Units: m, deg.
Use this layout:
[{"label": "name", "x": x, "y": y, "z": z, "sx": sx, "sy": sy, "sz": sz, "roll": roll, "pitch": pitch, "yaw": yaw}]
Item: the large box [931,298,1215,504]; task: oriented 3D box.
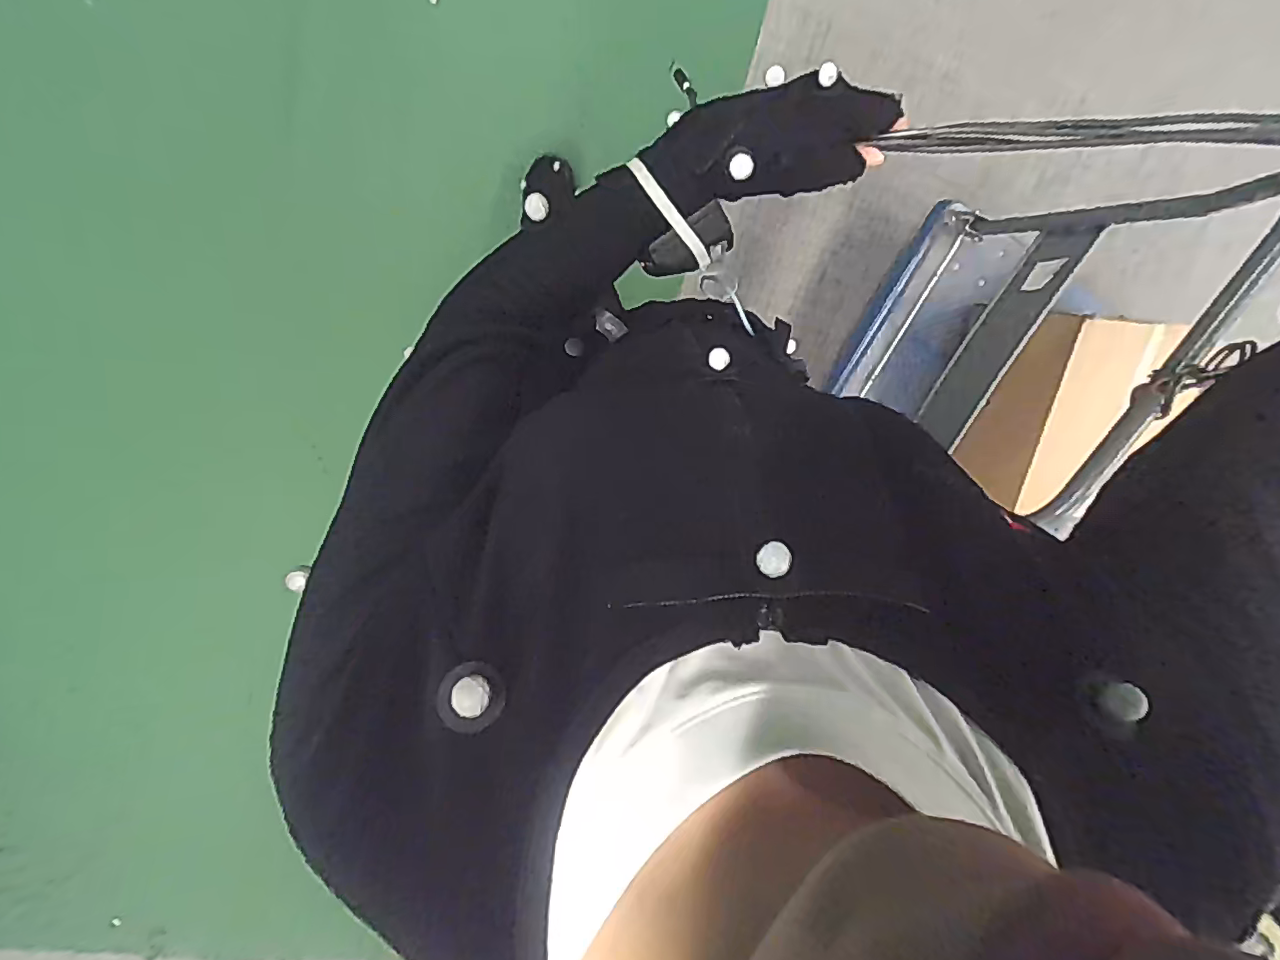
[{"label": "large box", "x": 0.936, "y": -0.188, "z": 1.235, "sx": 0.320, "sy": 0.320, "sz": 0.408, "roll": 2, "pitch": 111, "yaw": -8}]
